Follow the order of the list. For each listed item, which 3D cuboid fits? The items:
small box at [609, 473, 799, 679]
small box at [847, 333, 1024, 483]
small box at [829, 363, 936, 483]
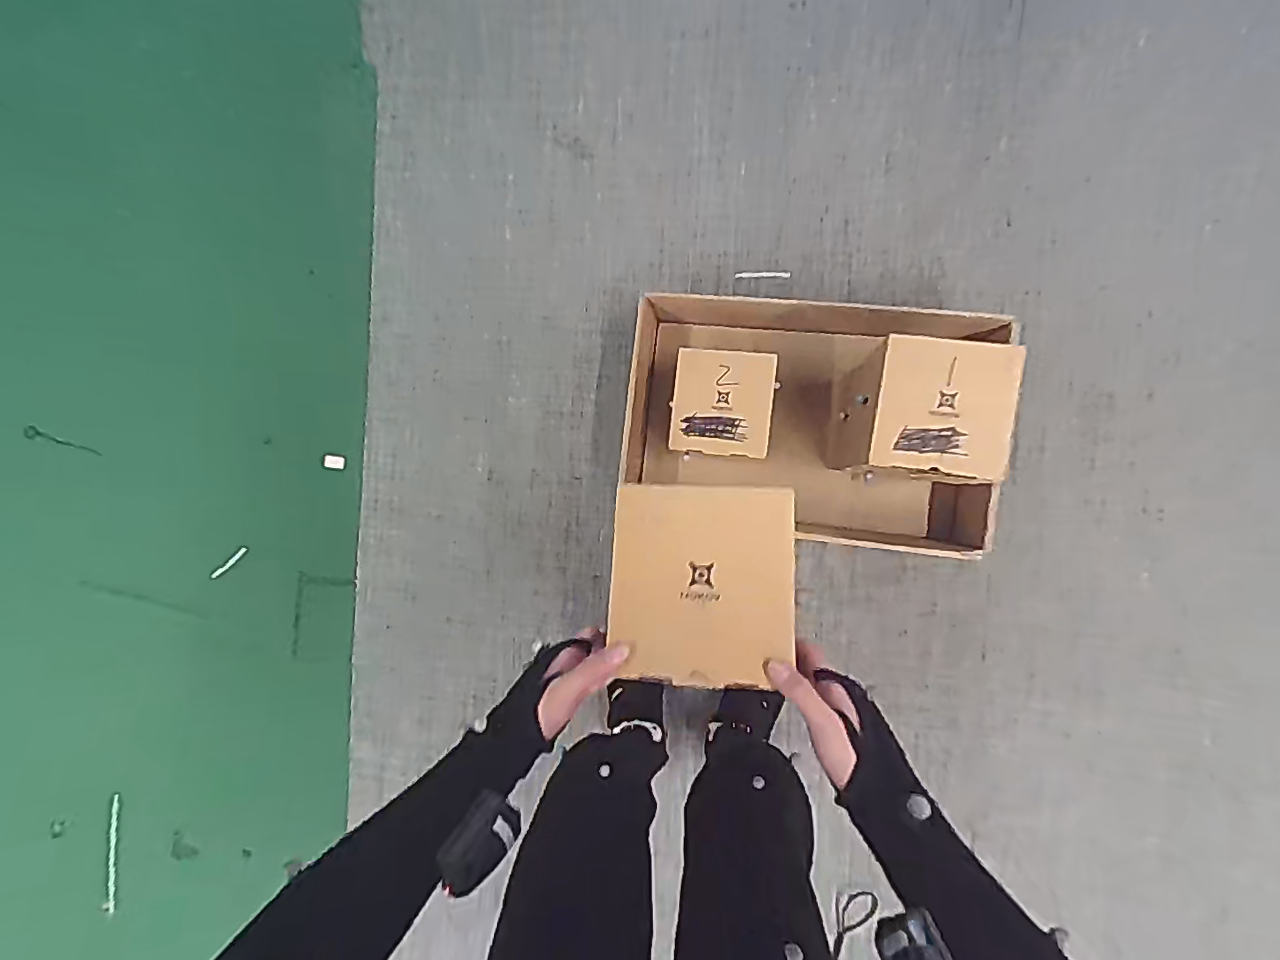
[{"bbox_3d":[0.068,0.100,0.563,0.168,0.176,0.179,2,77,8],"label":"small box"},{"bbox_3d":[0.403,-0.092,0.769,0.168,0.176,0.179,9,90,10],"label":"small box"},{"bbox_3d":[0.431,-0.091,0.930,0.168,0.176,0.179,7,91,10],"label":"small box"}]
